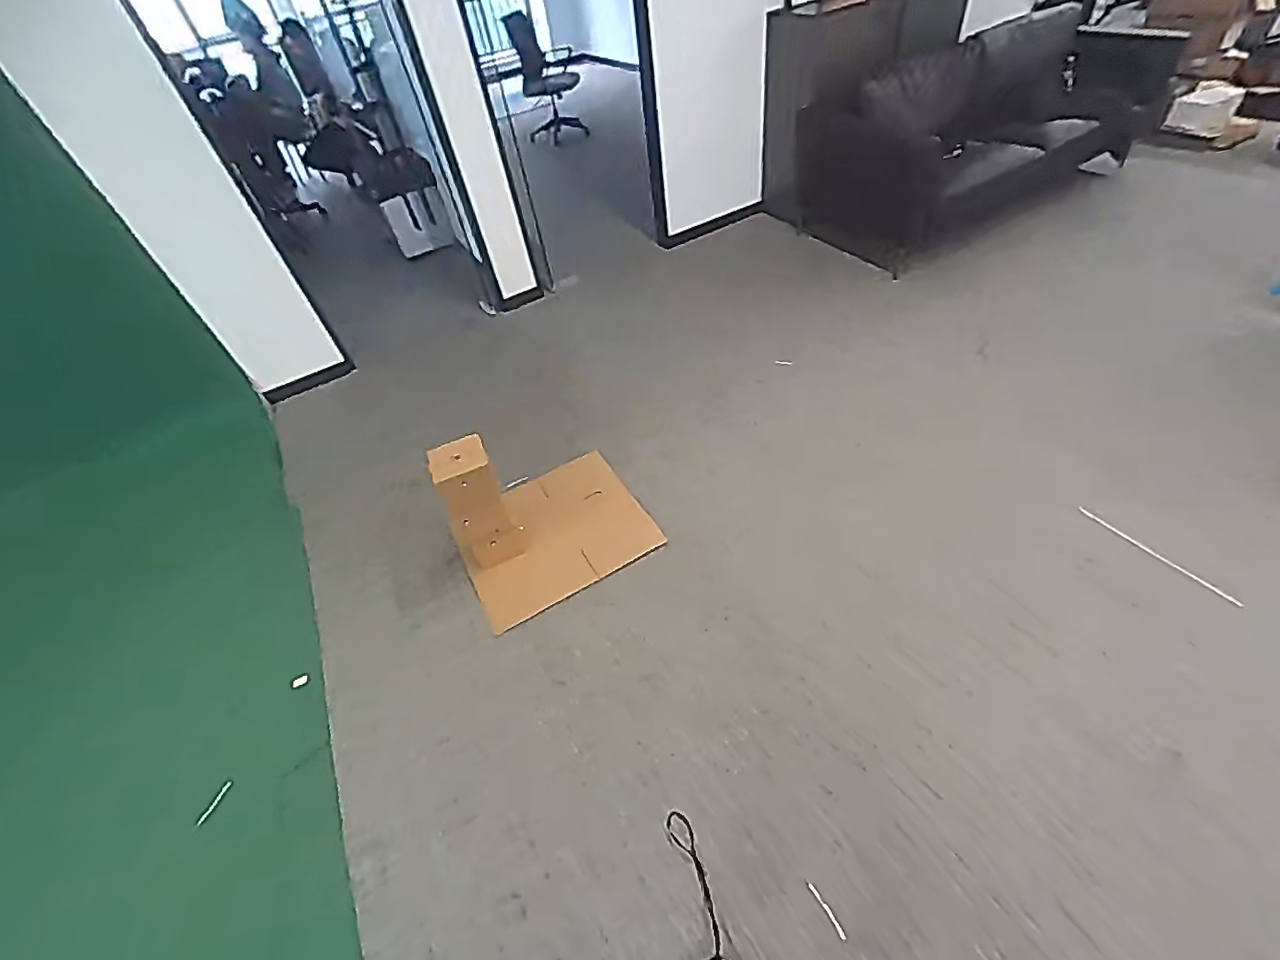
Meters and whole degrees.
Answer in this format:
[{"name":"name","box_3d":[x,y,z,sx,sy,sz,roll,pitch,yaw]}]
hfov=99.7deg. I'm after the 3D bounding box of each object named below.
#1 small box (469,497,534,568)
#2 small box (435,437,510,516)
[{"name":"small box","box_3d":[-0.522,0.203,2.043,0.179,0.176,0.168,-23,48,-12]},{"name":"small box","box_3d":[-0.555,-0.009,1.795,0.179,0.176,0.168,-22,48,-10]}]
